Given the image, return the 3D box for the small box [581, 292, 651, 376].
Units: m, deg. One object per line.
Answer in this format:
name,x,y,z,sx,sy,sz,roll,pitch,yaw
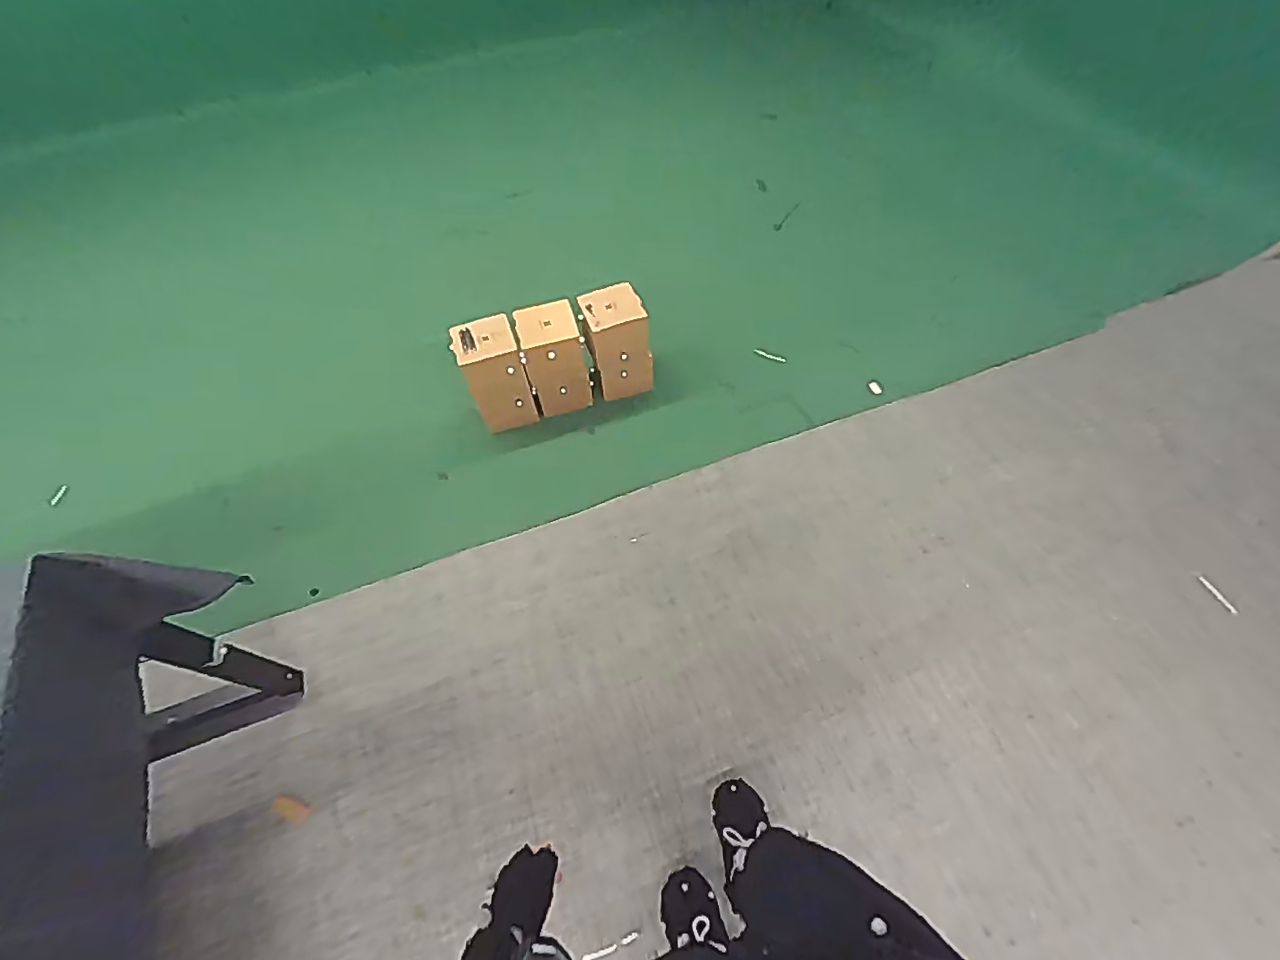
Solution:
small box,-0.075,-0.458,1.704,0.179,0.176,0.168,-18,59,-10
